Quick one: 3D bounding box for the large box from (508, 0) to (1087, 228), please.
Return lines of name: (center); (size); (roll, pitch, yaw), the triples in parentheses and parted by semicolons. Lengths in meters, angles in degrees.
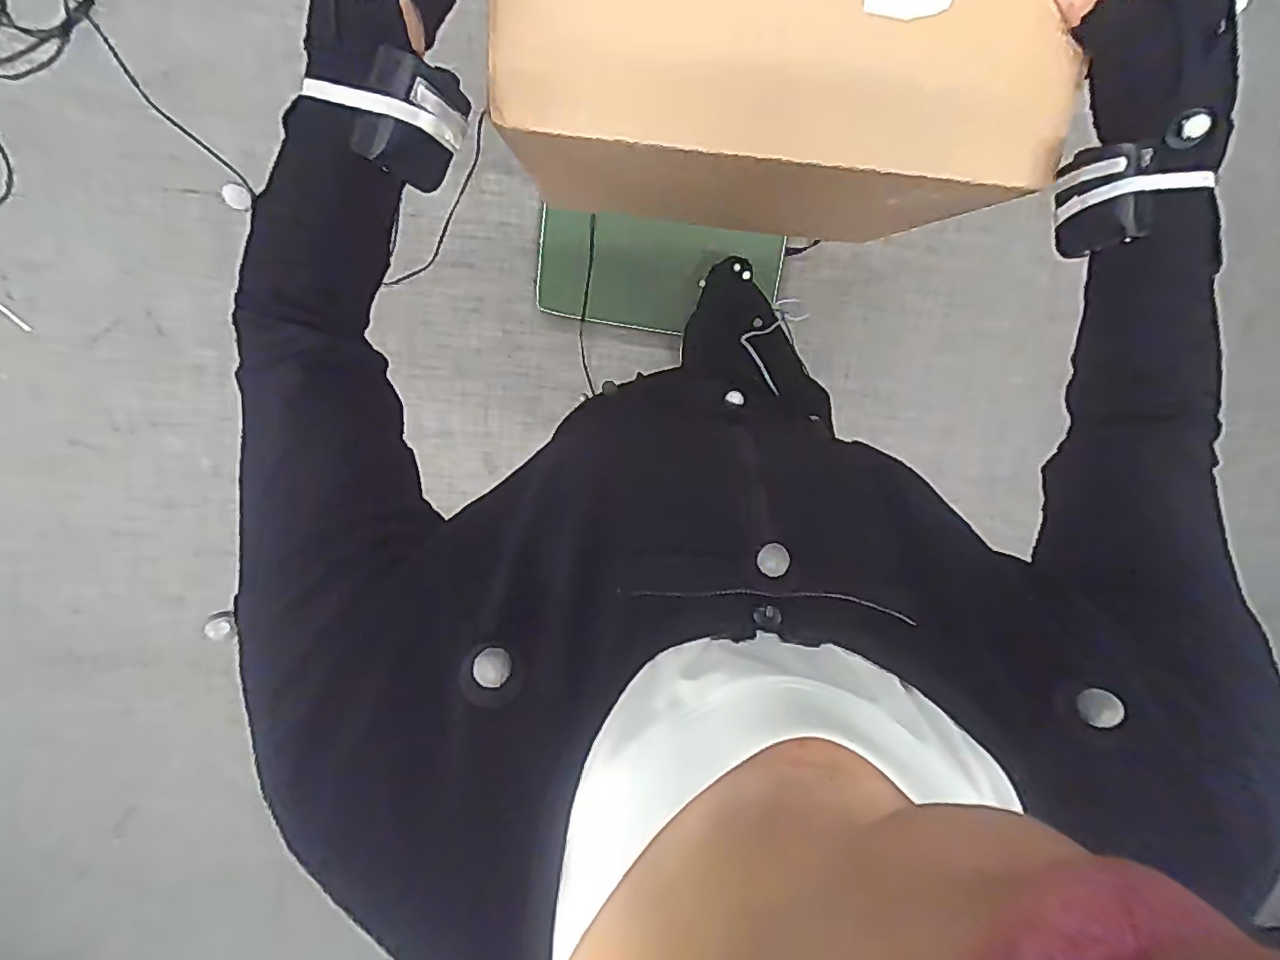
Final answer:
large box: (0.106, -0.431, 0.489); (0.408, 0.320, 0.320); (4, 108, -5)
